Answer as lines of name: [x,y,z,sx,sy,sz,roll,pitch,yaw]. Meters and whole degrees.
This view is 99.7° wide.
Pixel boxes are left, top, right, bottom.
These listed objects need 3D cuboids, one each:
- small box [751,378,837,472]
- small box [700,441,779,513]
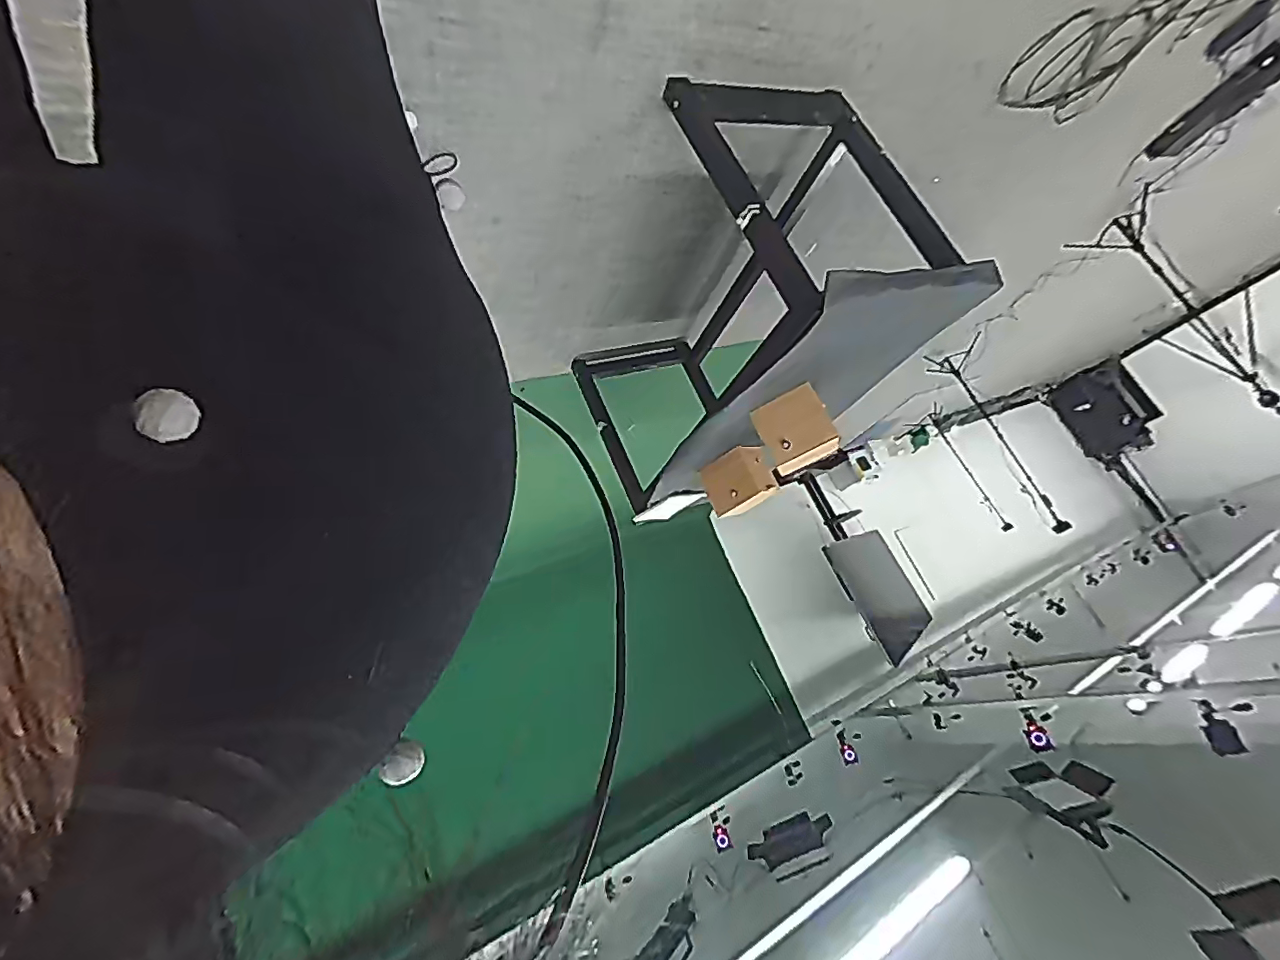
small box: [0.414,-0.146,1.469,0.179,0.176,0.168,-28,164,13]
small box: [0.318,-0.008,1.770,0.179,0.176,0.168,-36,161,32]
